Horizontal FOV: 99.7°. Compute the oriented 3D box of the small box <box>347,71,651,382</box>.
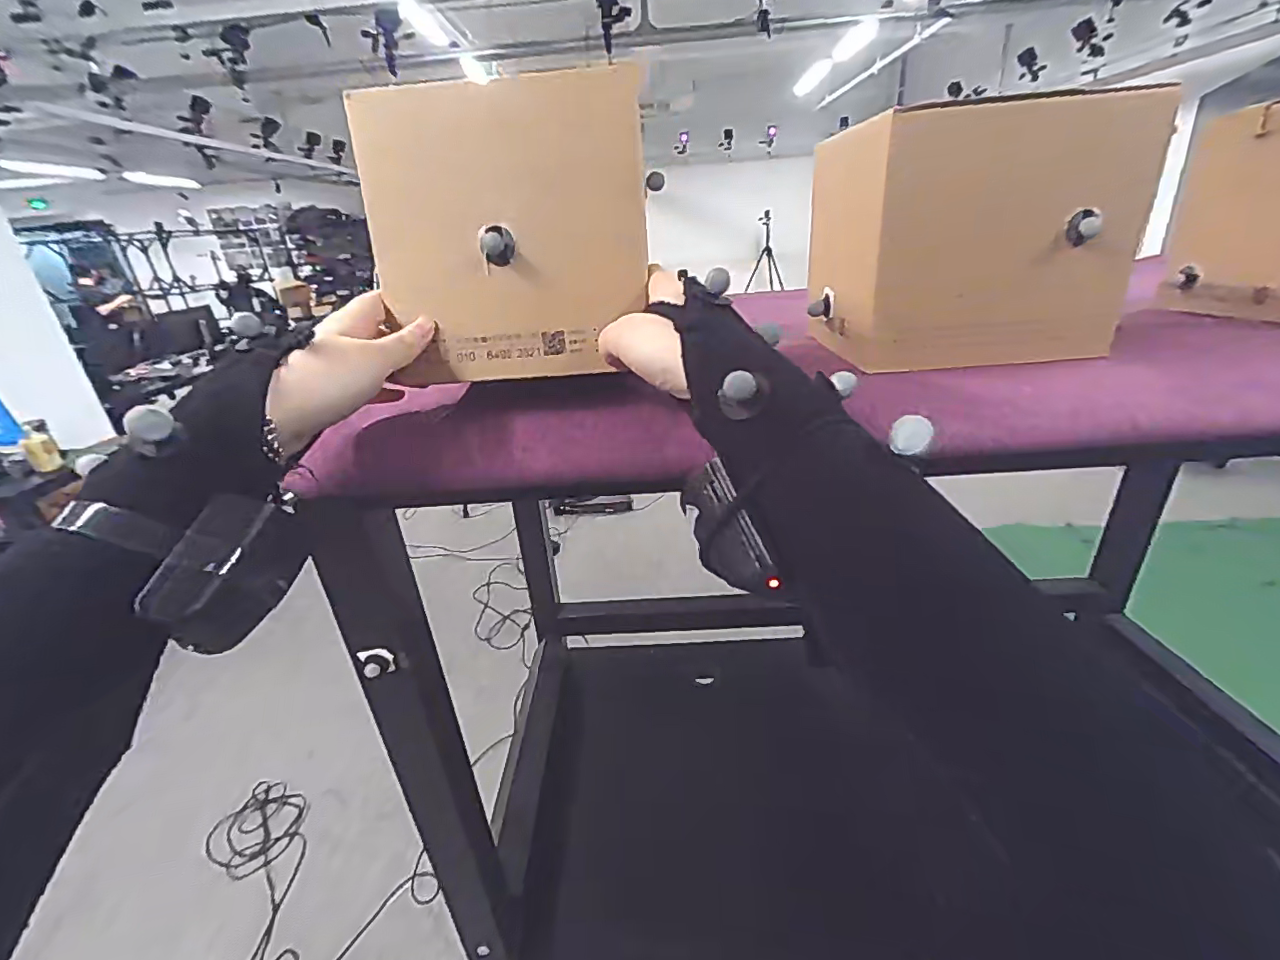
[{"bbox_3d":[-0.078,-0.166,0.404,0.168,0.176,0.179,-2,17,2],"label":"small box"}]

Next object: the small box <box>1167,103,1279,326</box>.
[{"bbox_3d":[0.591,-0.220,0.439,0.179,0.176,0.168,-3,23,4],"label":"small box"}]

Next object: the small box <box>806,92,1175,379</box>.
[{"bbox_3d":[0.243,-0.186,0.432,0.179,0.176,0.168,-5,25,2],"label":"small box"}]
